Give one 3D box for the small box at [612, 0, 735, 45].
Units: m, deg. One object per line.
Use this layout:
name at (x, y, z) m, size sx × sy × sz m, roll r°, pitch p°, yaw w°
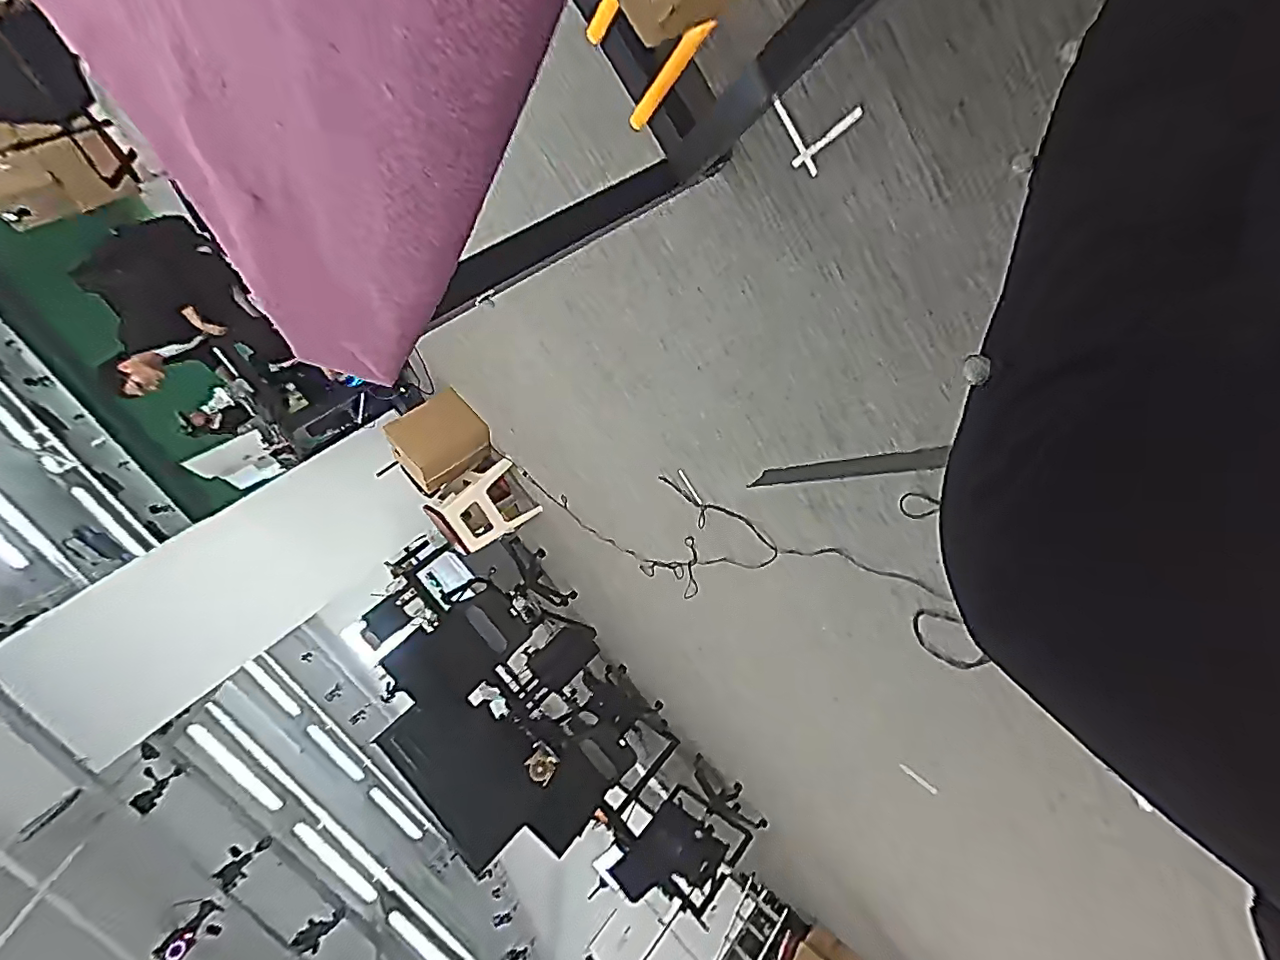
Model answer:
small box at (0.048, -0.649, 0.604) m, size 0.179 × 0.176 × 0.168 m, roll 54°, pitch 154°, yaw -14°
